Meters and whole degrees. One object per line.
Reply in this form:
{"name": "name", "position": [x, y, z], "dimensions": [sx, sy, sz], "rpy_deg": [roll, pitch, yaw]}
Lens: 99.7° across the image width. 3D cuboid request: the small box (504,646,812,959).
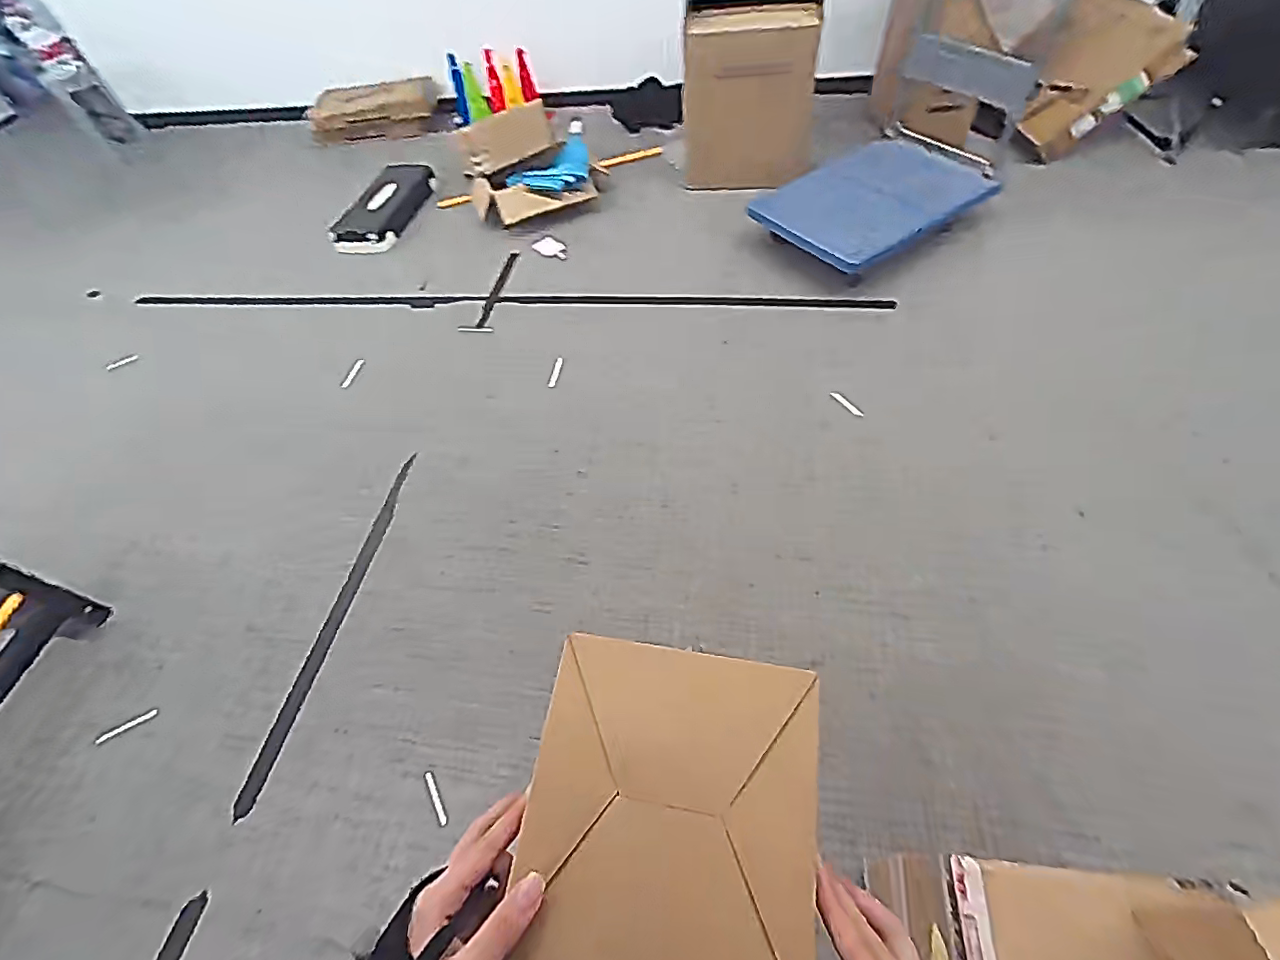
{"name": "small box", "position": [0.022, 0.232, 0.382], "dimensions": [0.168, 0.176, 0.179], "rpy_deg": [5, 62, 10]}
